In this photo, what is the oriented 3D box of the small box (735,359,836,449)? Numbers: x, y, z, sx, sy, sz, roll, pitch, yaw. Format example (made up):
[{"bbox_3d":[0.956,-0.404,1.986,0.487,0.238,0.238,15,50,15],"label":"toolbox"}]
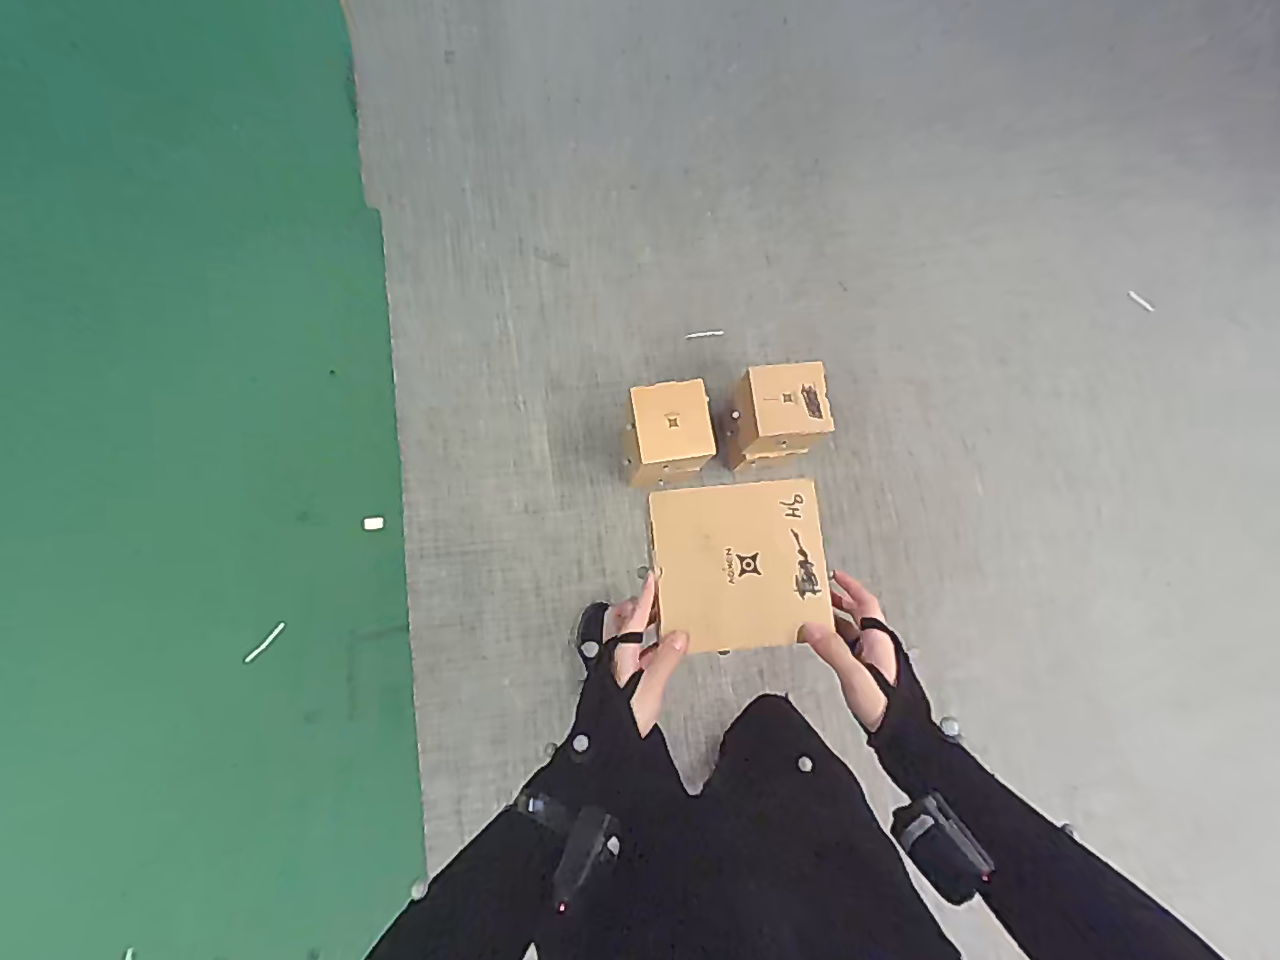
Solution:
[{"bbox_3d":[0.337,-0.175,1.282,0.179,0.176,0.168,-5,80,-4],"label":"small box"}]

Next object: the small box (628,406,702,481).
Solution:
[{"bbox_3d":[0.059,-0.095,1.414,0.168,0.176,0.179,-6,81,-5],"label":"small box"}]

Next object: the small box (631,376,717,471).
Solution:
[{"bbox_3d":[0.072,-0.123,1.256,0.168,0.176,0.179,-9,80,-5],"label":"small box"}]
